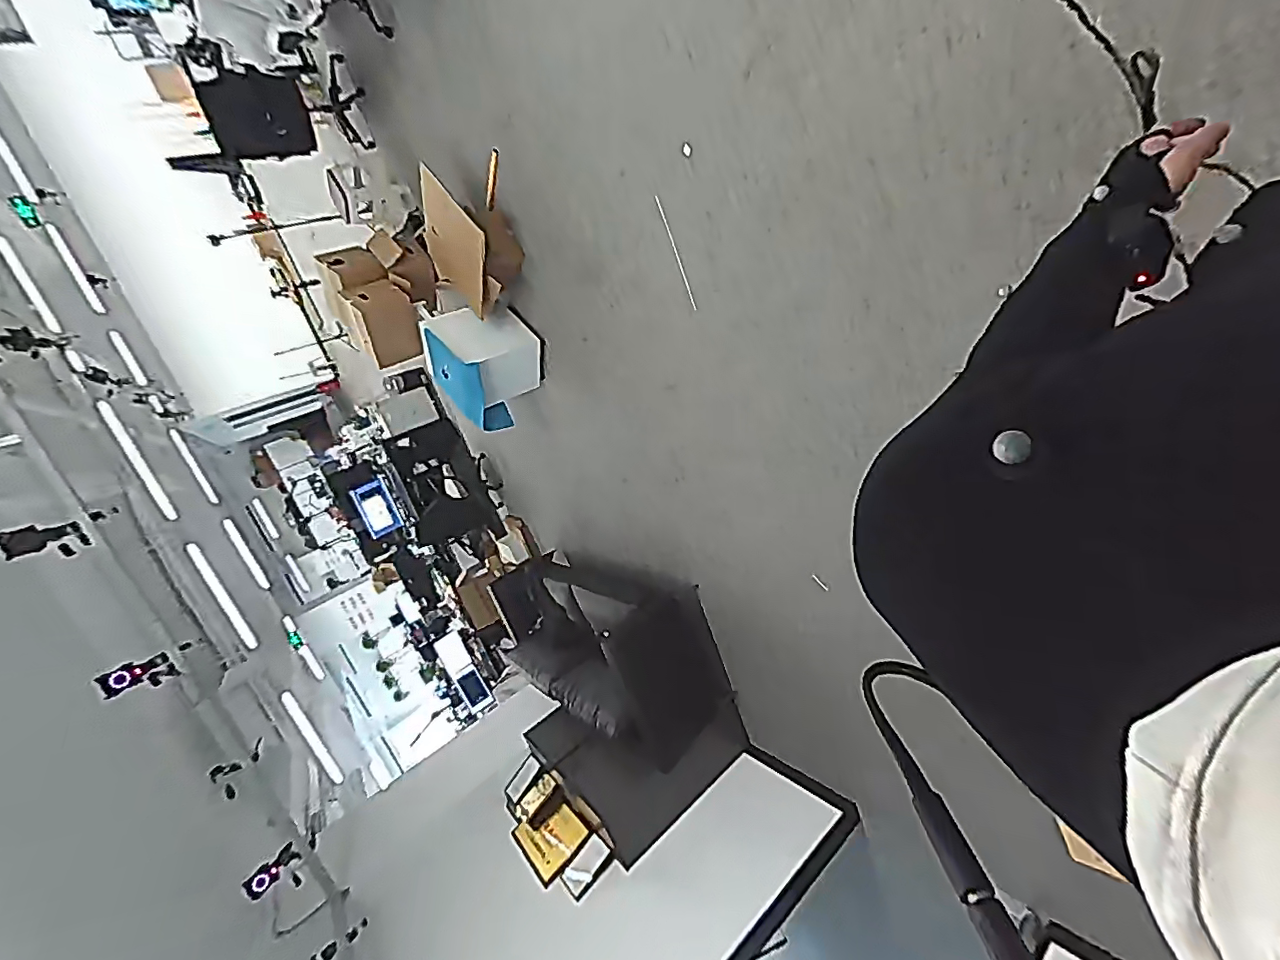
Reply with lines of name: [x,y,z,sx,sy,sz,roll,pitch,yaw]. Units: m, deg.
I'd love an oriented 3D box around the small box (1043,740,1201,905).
small box: [0.921,0.637,1.035,0.168,0.176,0.179,-15,102,60]
